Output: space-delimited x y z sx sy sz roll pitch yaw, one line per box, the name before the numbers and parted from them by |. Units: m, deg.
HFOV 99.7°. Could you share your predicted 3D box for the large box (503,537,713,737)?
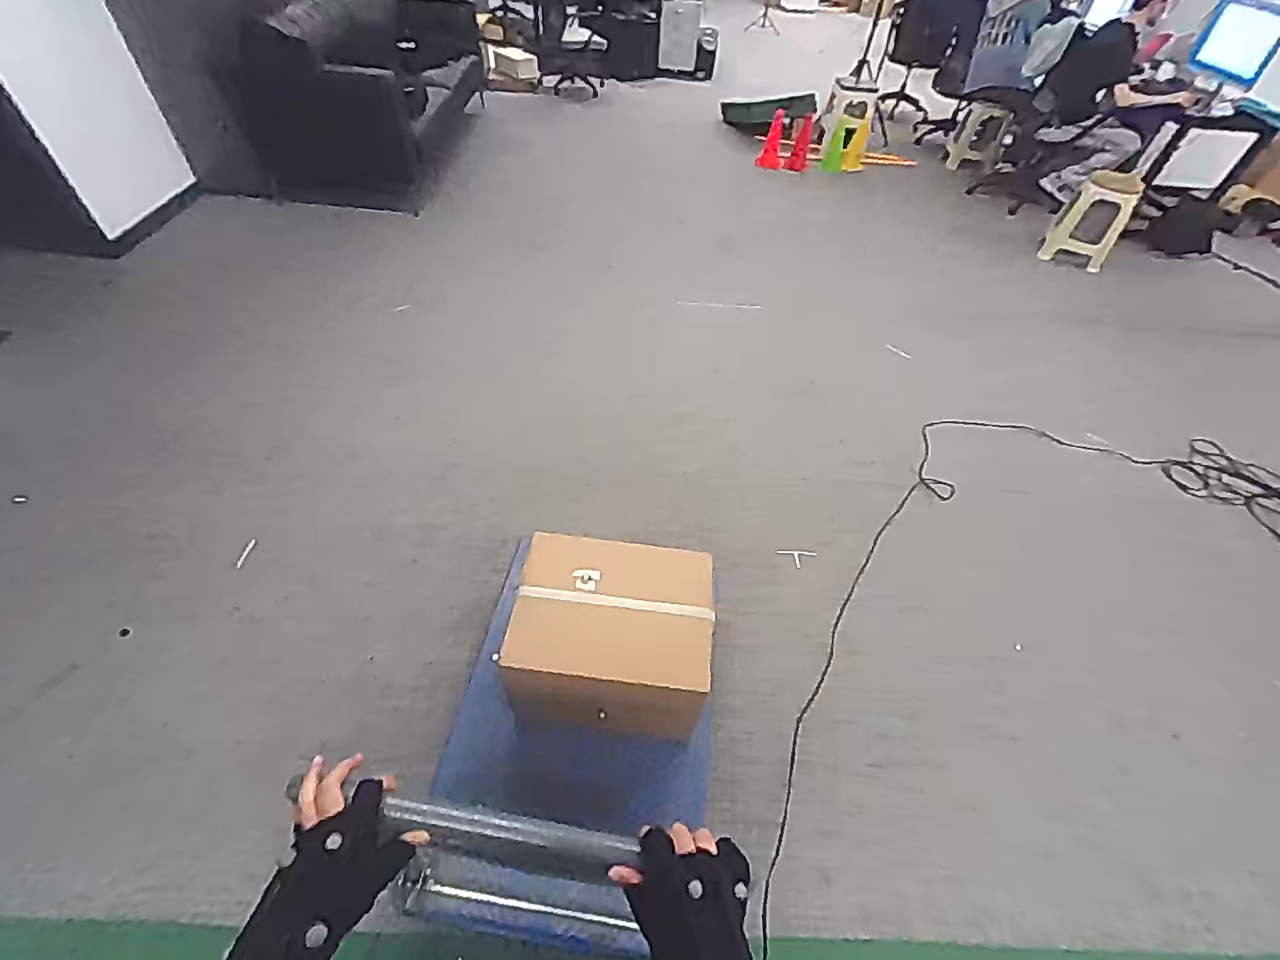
large box | -0.054 0.360 1.224 0.408 0.320 0.320 7 47 2
